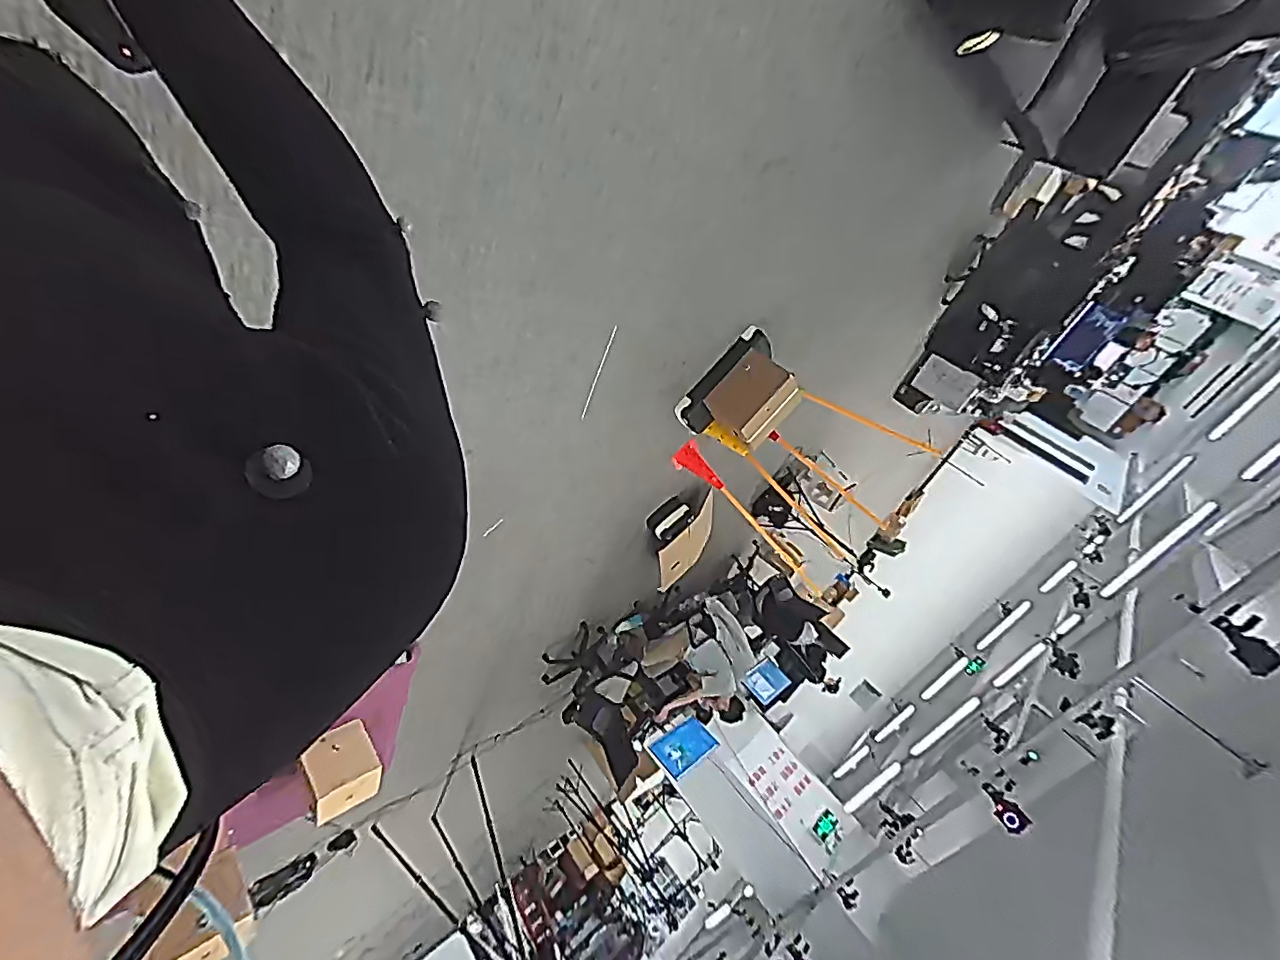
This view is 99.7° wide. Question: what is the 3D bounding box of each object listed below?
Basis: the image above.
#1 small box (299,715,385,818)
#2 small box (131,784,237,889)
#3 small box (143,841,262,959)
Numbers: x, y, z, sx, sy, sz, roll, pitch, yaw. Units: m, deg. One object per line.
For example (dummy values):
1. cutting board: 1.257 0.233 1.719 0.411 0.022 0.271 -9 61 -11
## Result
1. small box: -0.857 0.813 1.549 0.168 0.176 0.179 -16 140 -45
2. small box: -1.095 0.877 1.305 0.168 0.176 0.179 -15 140 -45
3. small box: -0.989 0.974 1.229 0.179 0.176 0.168 -14 138 -45
